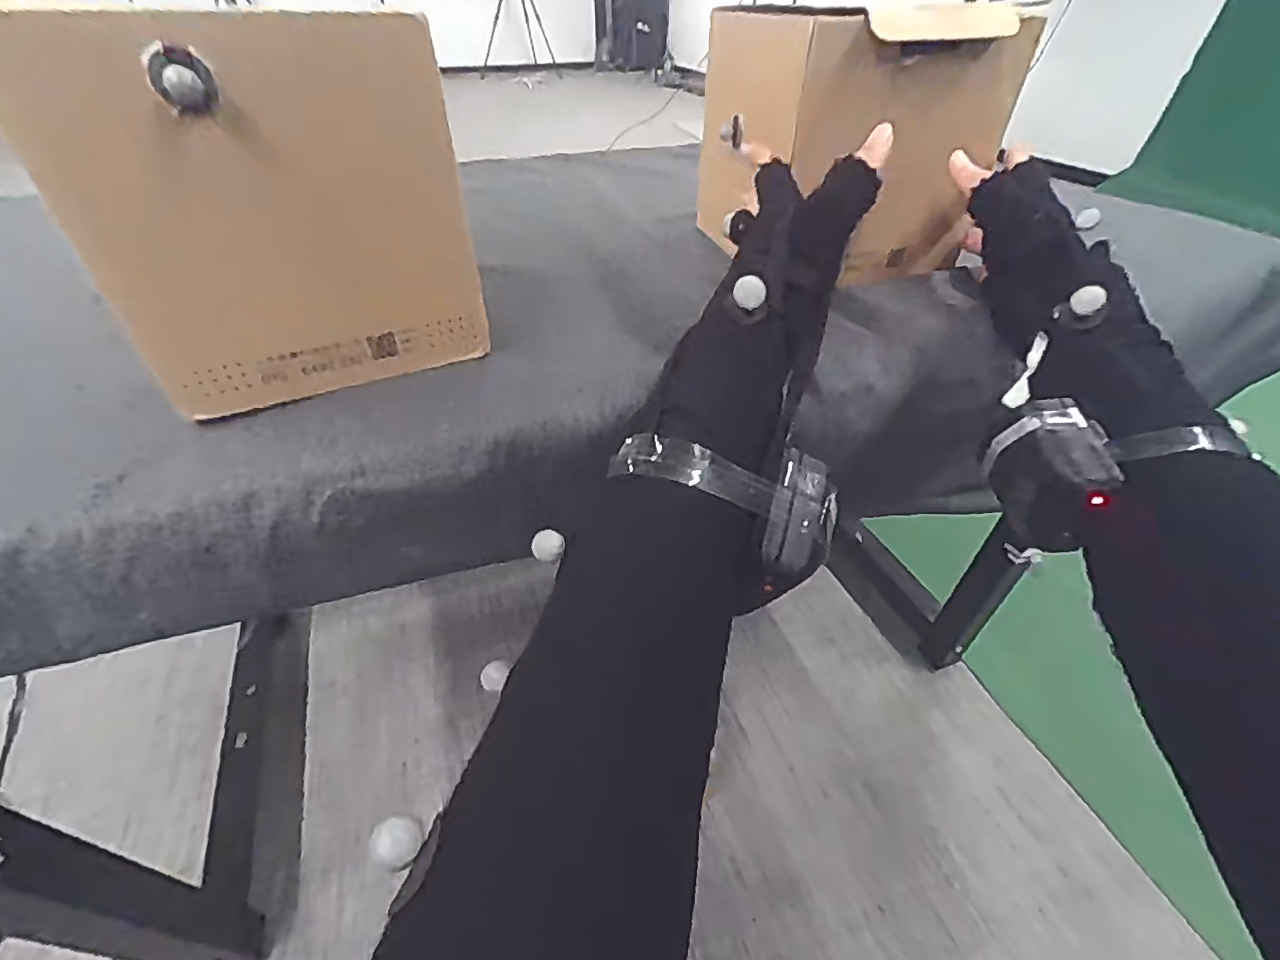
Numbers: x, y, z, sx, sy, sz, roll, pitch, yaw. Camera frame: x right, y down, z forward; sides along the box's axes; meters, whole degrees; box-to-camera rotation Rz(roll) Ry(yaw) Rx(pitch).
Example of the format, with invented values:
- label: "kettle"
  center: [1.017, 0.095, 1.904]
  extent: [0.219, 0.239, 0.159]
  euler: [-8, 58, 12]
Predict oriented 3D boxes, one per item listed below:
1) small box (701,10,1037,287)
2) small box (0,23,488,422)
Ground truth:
- label: "small box"
  center: [0.155, -0.266, 0.441]
  extent: [0.168, 0.176, 0.179]
  euler: [-10, 42, -10]
- label: "small box"
  center: [-0.205, -0.159, 0.322]
  extent: [0.168, 0.176, 0.179]
  euler: [-20, 44, -20]
